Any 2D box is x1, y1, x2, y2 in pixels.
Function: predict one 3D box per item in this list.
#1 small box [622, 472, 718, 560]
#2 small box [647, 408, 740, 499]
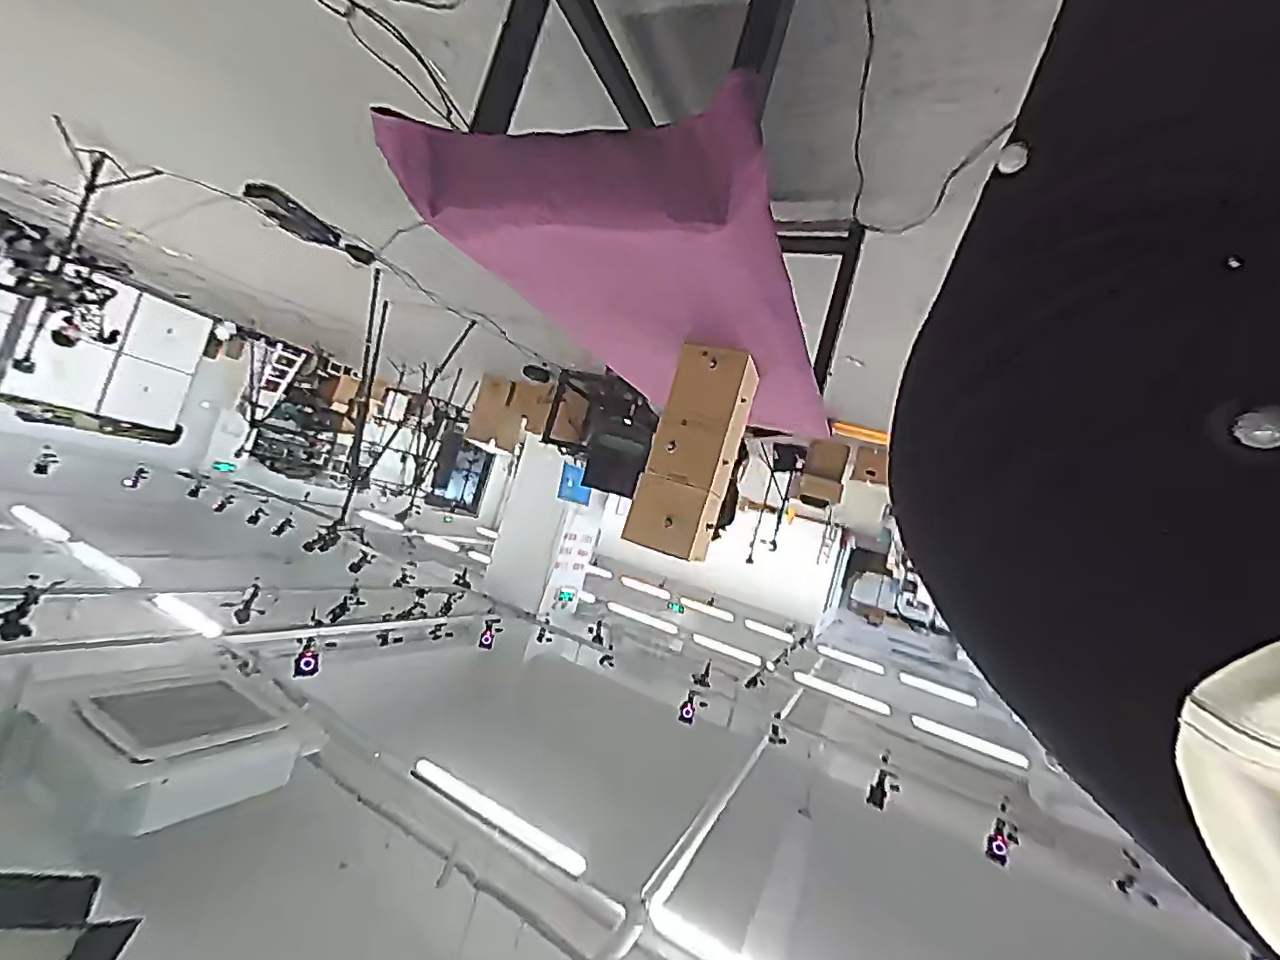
[{"bbox_3d":[0.081,0.088,1.312,0.179,0.176,0.168,15,175,21],"label":"small box"},{"bbox_3d":[0.136,-0.065,1.322,0.168,0.176,0.179,16,176,21],"label":"small box"}]
